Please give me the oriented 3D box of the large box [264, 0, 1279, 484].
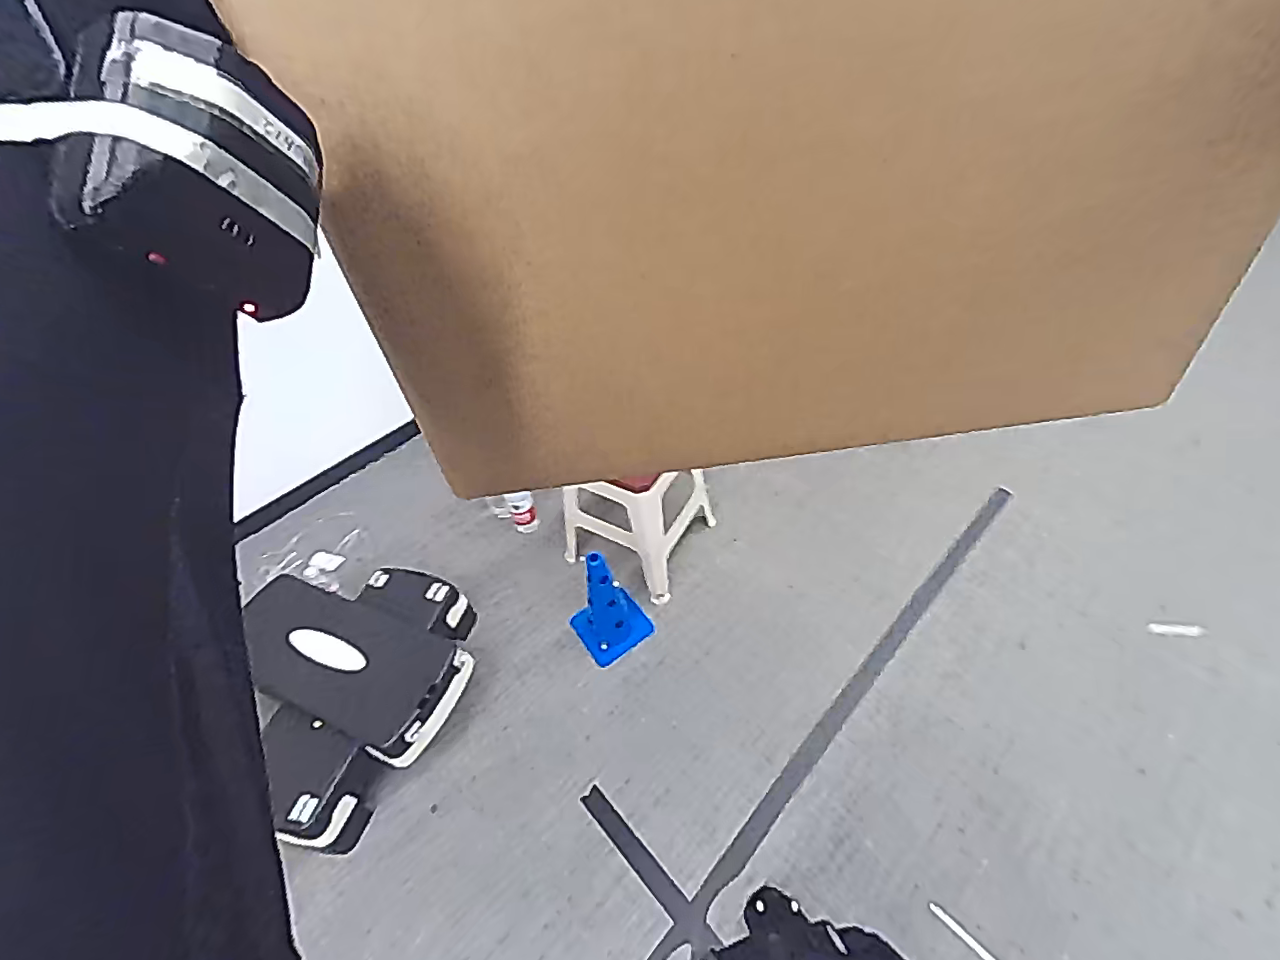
[{"bbox_3d":[0.066,-0.227,0.333,0.408,0.320,0.320,-7,41,2],"label":"large box"}]
